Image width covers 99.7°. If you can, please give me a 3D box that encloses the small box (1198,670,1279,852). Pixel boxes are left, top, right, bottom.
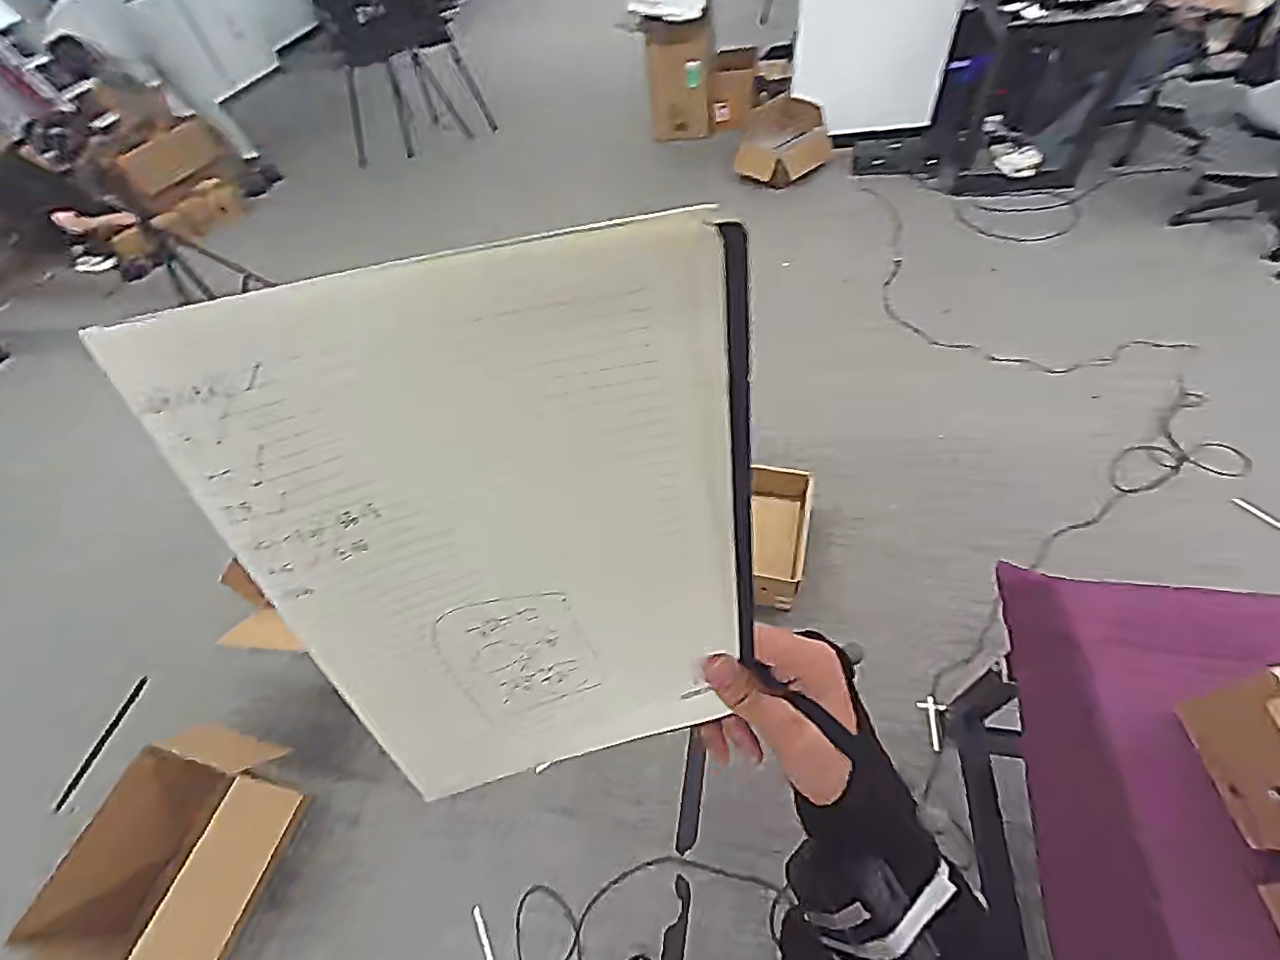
[{"bbox_3d":[0.807,0.325,0.615,0.179,0.176,0.168,-2,54,8],"label":"small box"}]
